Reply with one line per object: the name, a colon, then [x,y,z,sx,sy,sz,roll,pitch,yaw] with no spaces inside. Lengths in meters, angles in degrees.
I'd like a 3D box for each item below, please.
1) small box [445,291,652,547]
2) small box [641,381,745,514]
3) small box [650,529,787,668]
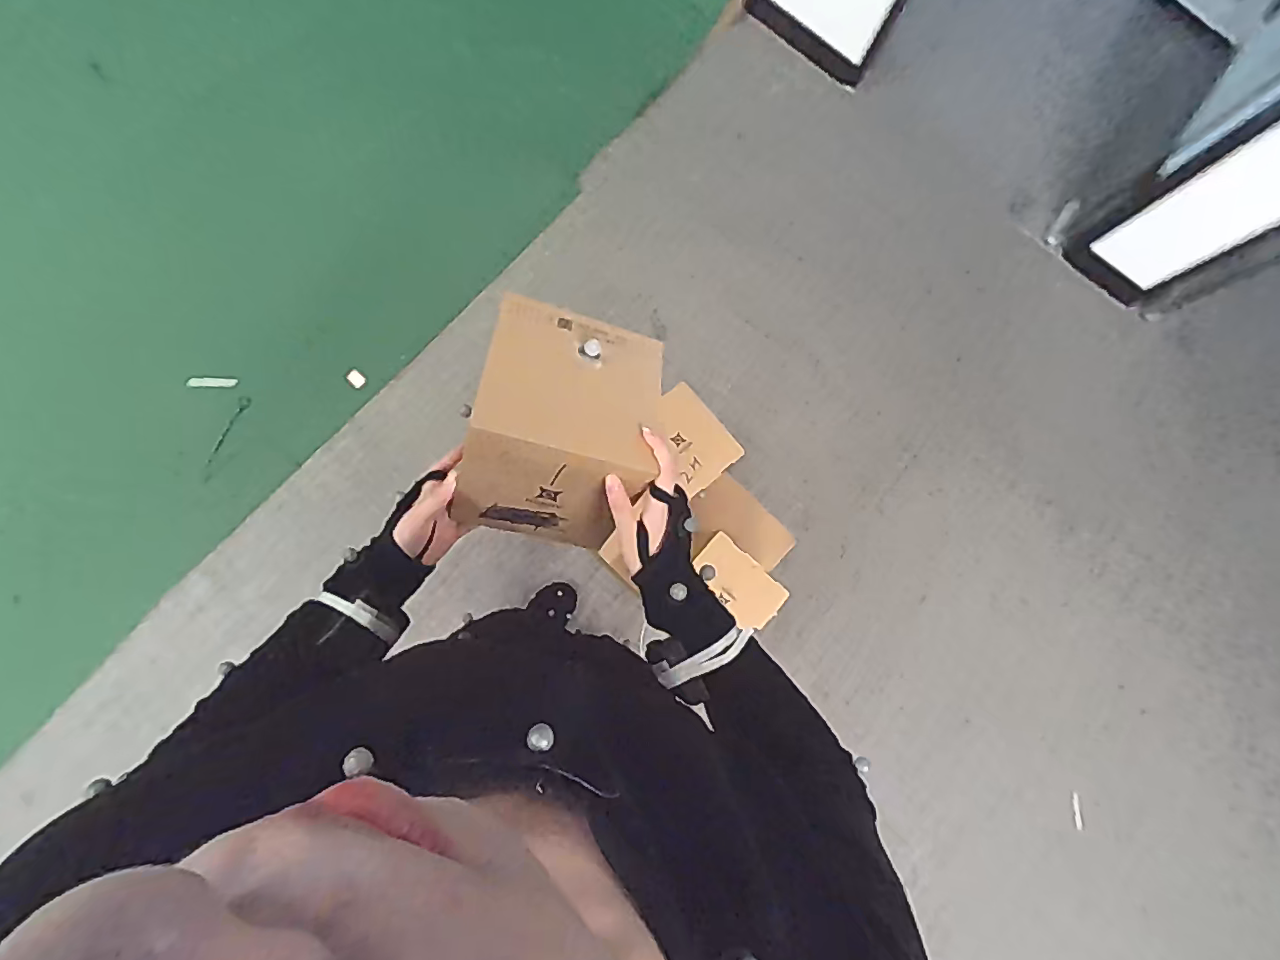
small box: [-0.090,-0.054,0.556,0.168,0.179,0.176,14,55,-17]
small box: [0.064,-0.052,1.031,0.168,0.176,0.179,-39,88,-11]
small box: [0.132,0.212,0.994,0.168,0.176,0.179,43,79,1]
